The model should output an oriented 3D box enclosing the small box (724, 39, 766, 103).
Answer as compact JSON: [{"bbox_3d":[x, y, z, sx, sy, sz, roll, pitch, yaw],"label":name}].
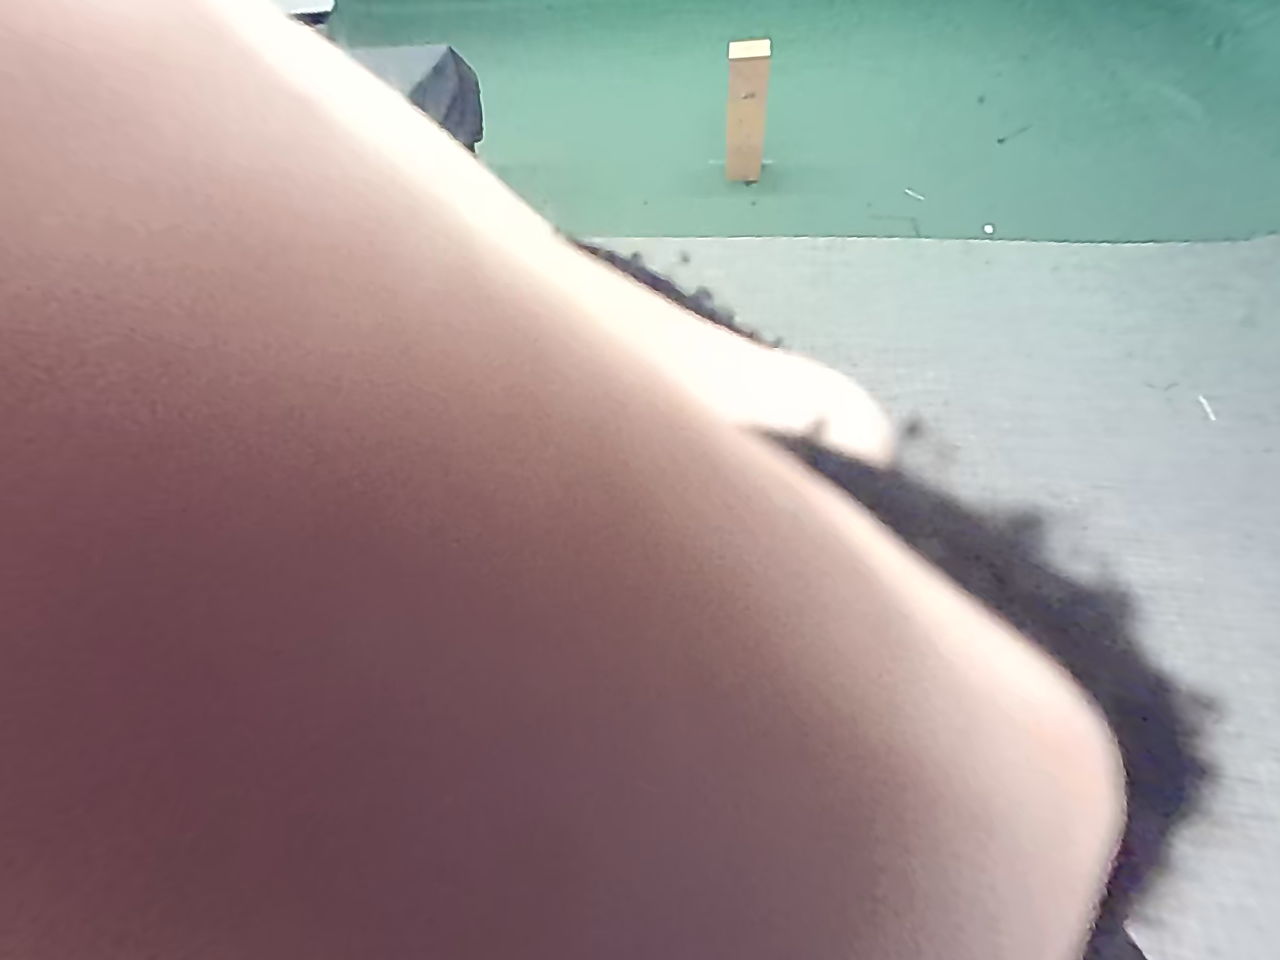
[{"bbox_3d":[0.440,-1.720,2.277,0.168,0.176,0.179,2,57,8],"label":"small box"}]

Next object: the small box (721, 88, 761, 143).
[{"bbox_3d":[0.450,-1.626,2.410,0.168,0.176,0.179,2,56,7],"label":"small box"}]
